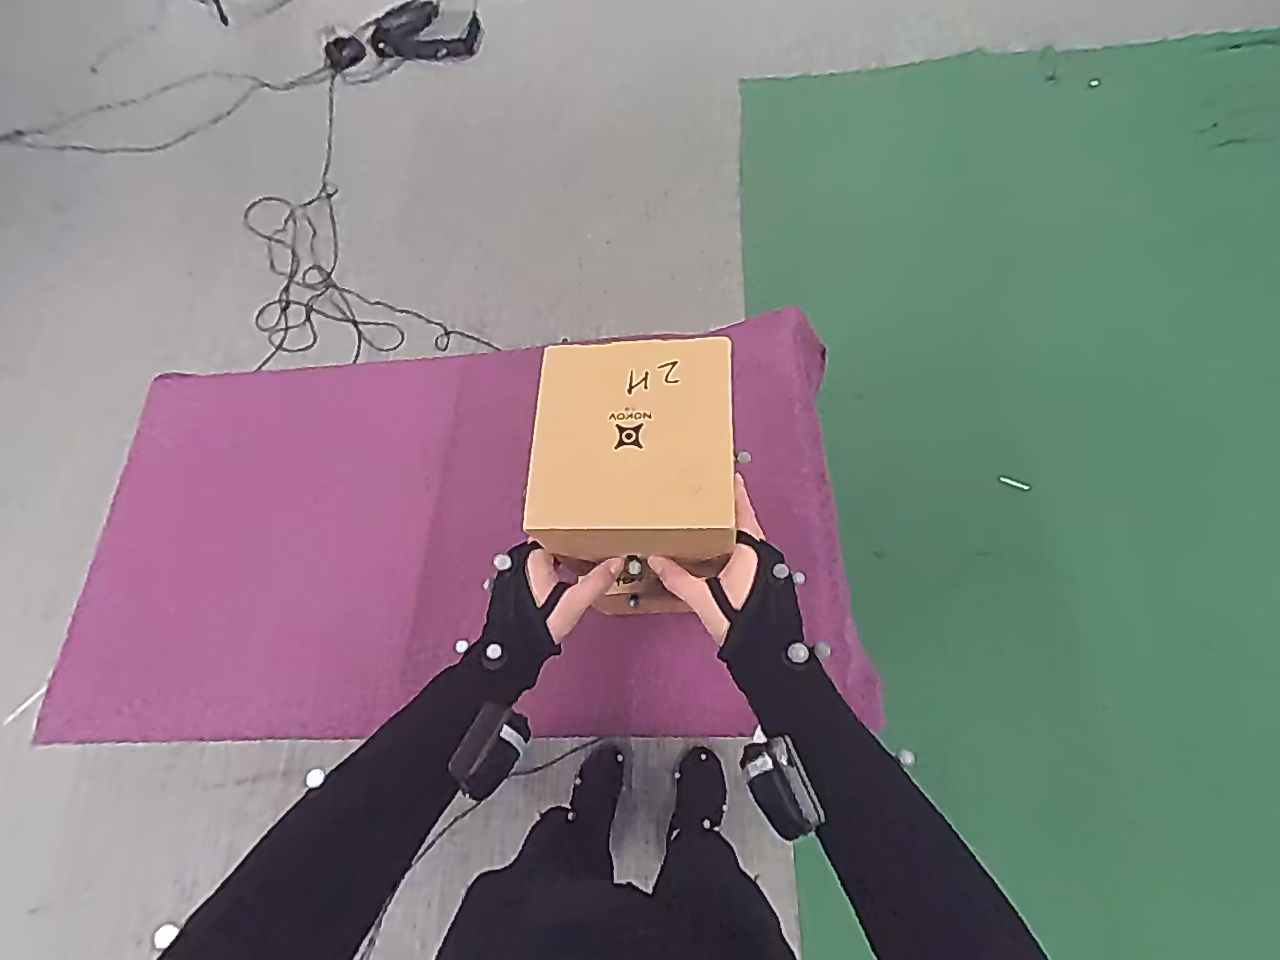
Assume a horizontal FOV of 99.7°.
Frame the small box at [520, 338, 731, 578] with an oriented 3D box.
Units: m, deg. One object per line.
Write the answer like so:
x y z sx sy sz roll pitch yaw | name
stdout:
0.002 -0.009 0.509 0.168 0.176 0.179 0 66 8 | small box

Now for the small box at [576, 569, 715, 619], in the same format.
0.013 0.085 0.735 0.168 0.176 0.179 -4 67 6 | small box
